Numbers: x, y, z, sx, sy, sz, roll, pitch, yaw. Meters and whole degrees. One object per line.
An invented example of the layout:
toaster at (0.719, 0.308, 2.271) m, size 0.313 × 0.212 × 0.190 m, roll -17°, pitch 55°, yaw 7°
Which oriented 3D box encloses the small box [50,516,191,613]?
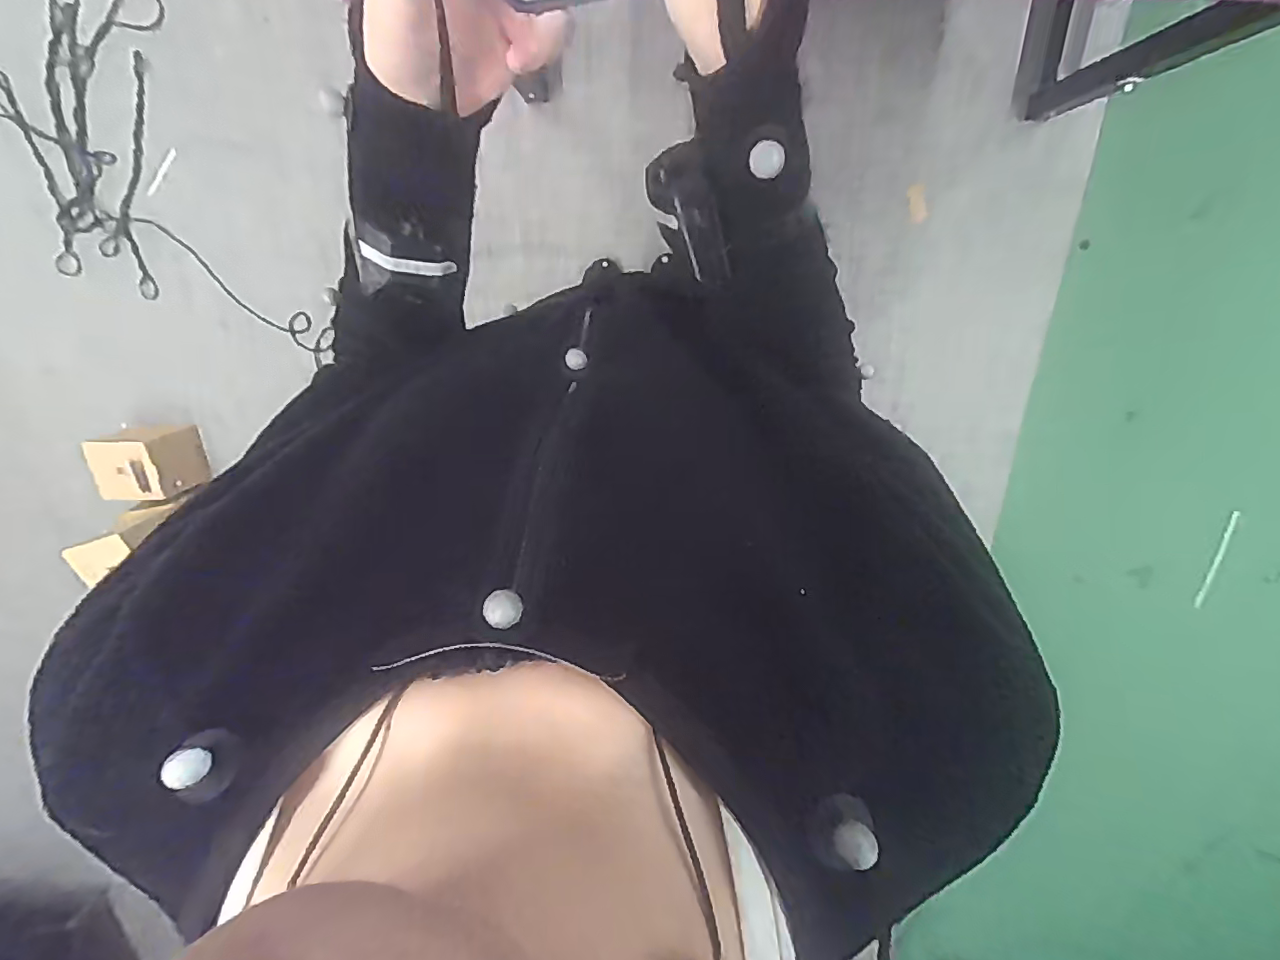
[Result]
small box at (-1.315, 0.211, 1.390) m, size 0.179 × 0.176 × 0.168 m, roll -16°, pitch 109°, yaw 8°
